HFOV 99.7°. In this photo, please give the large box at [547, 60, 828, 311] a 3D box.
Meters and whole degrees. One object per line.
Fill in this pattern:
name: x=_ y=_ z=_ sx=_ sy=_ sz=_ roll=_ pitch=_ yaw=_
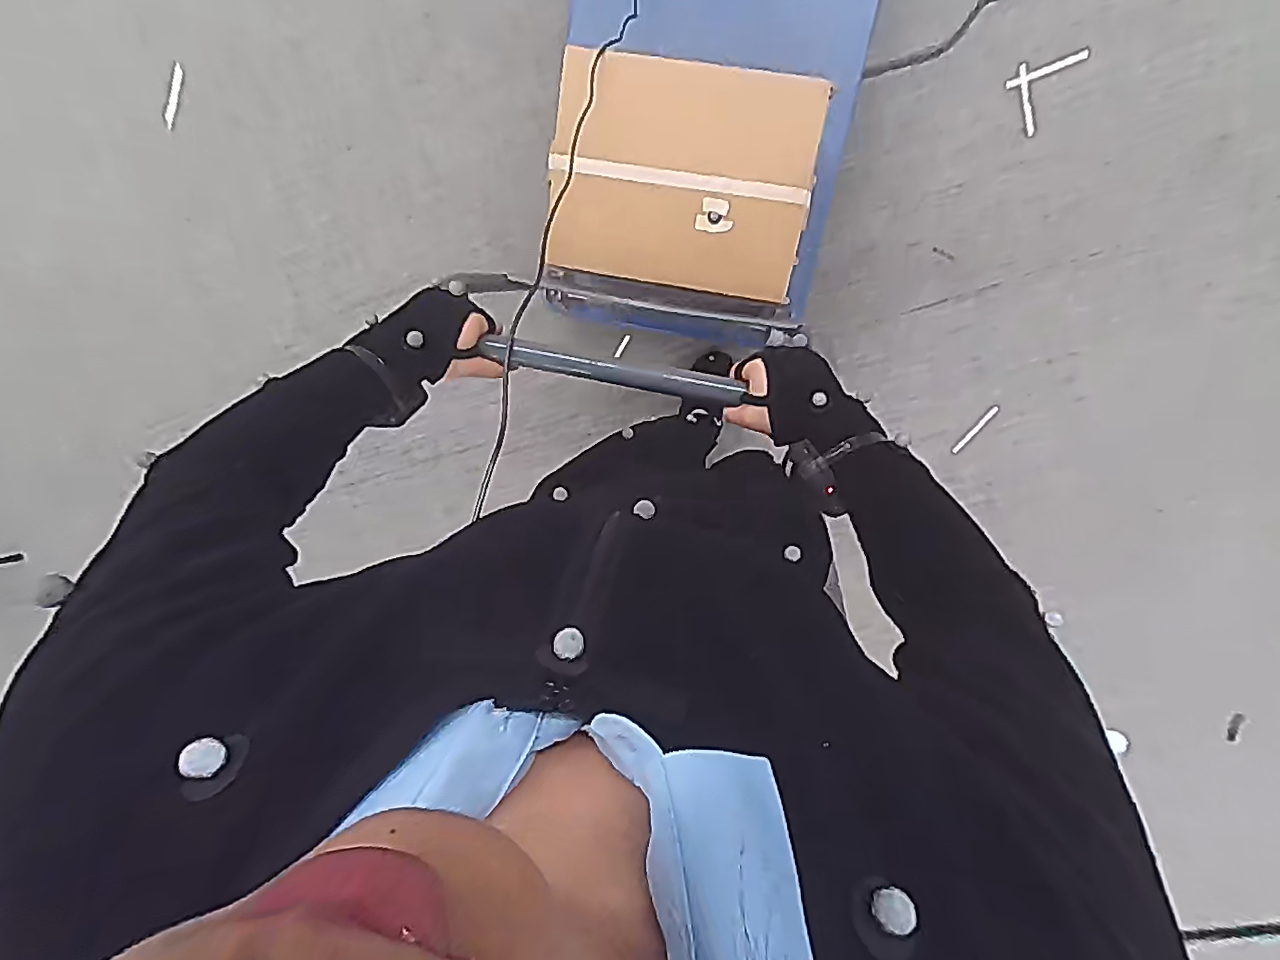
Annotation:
large box: x=0.075 y=-0.498 z=0.987 sx=0.408 sy=0.320 sz=0.320 roll=11 pitch=109 yaw=4
